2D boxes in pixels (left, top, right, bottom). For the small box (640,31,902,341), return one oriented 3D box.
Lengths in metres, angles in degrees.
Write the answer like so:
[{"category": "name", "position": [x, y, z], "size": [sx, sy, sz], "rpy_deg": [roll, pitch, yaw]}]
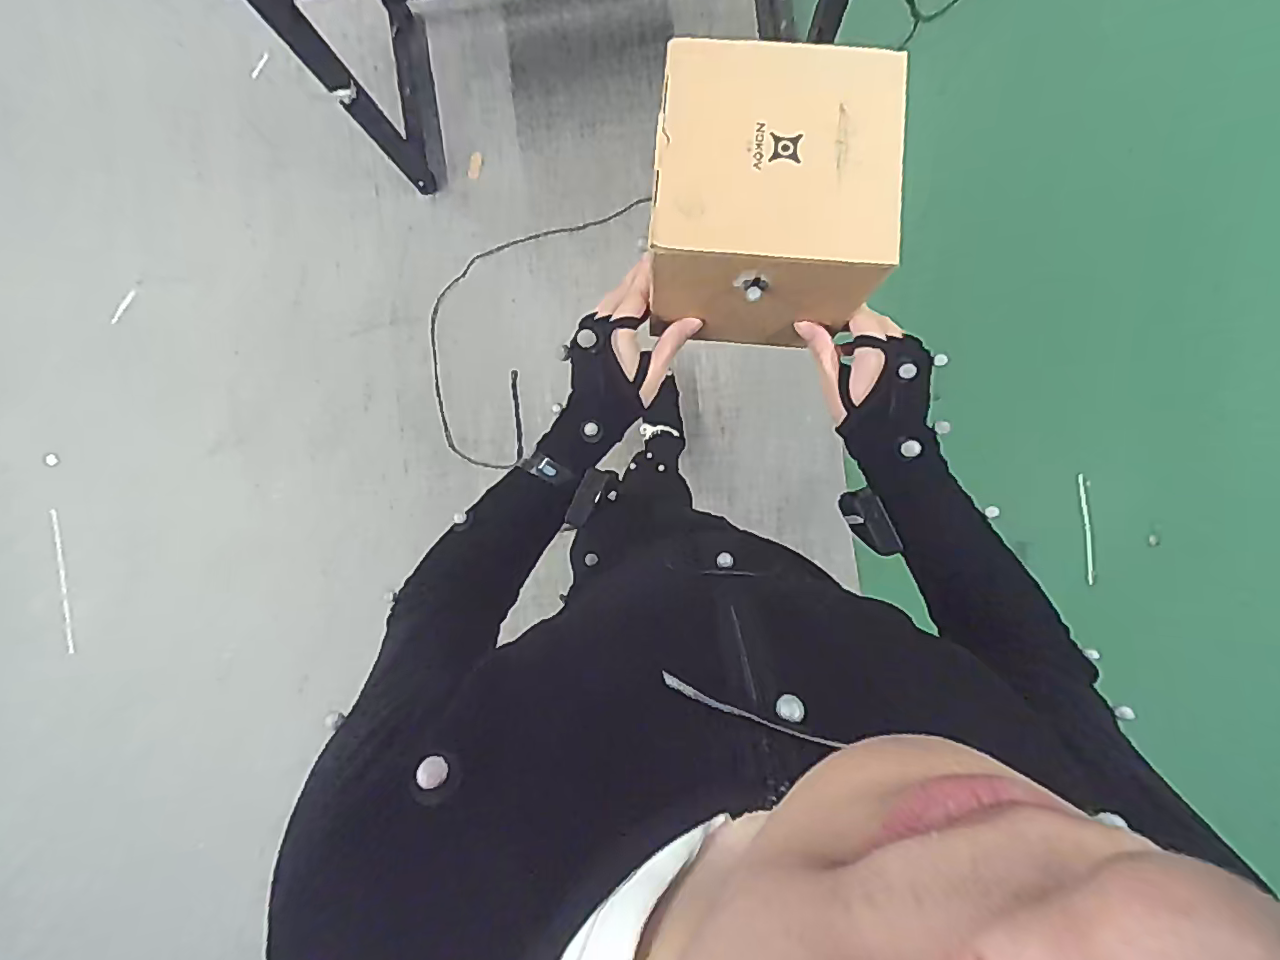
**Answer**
[{"category": "small box", "position": [0.097, -0.230, 0.463], "size": [0.179, 0.176, 0.168], "rpy_deg": [6, 84, 2]}]
